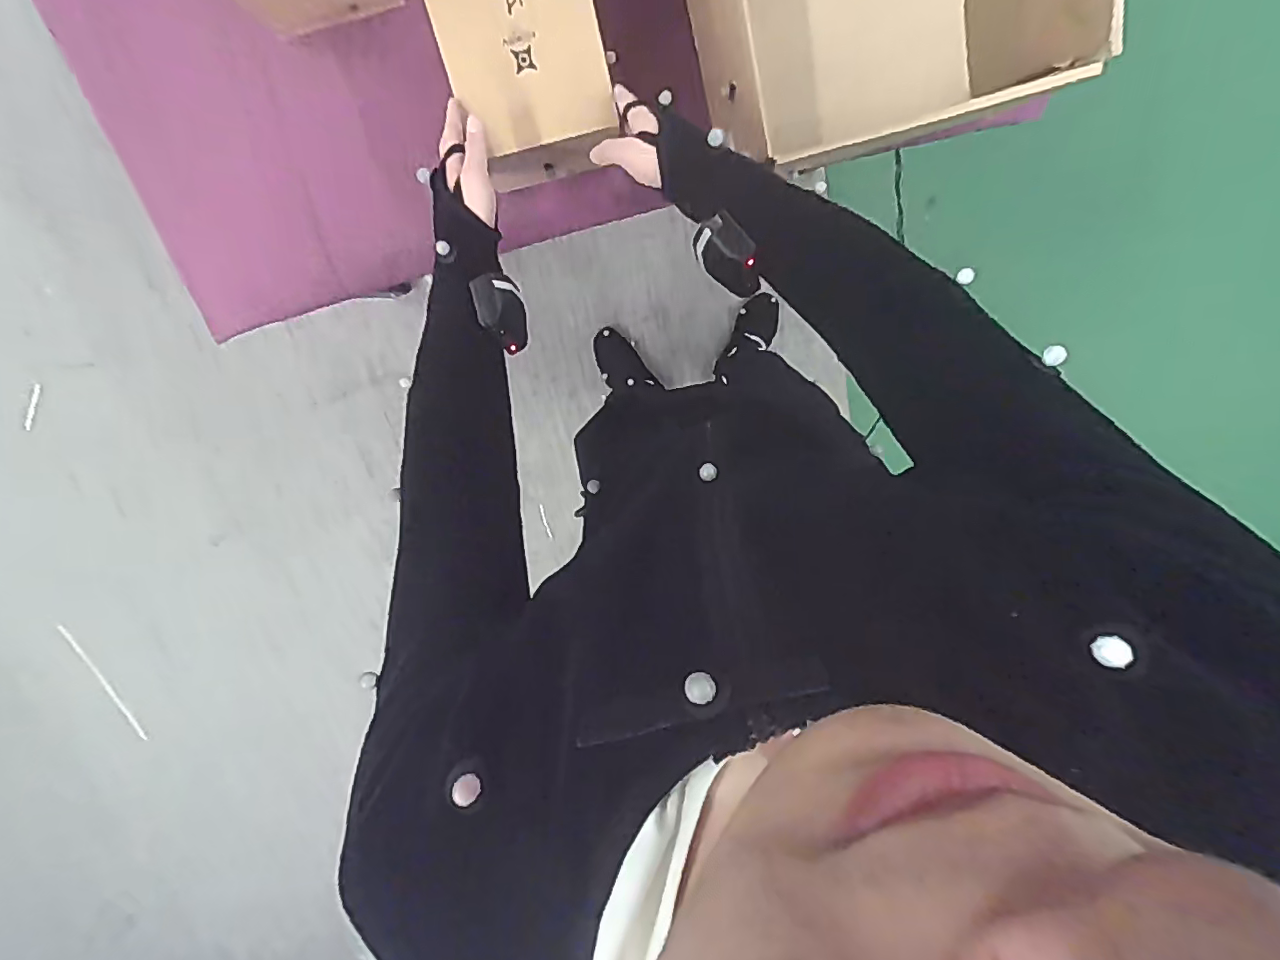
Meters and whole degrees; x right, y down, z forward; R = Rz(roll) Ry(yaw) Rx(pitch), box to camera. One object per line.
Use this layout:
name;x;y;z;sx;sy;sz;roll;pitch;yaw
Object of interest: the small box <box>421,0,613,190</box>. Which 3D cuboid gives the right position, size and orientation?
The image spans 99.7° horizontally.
small box;-0.131;-0.461;0.639;0.168;0.176;0.179;-15;108;-1
